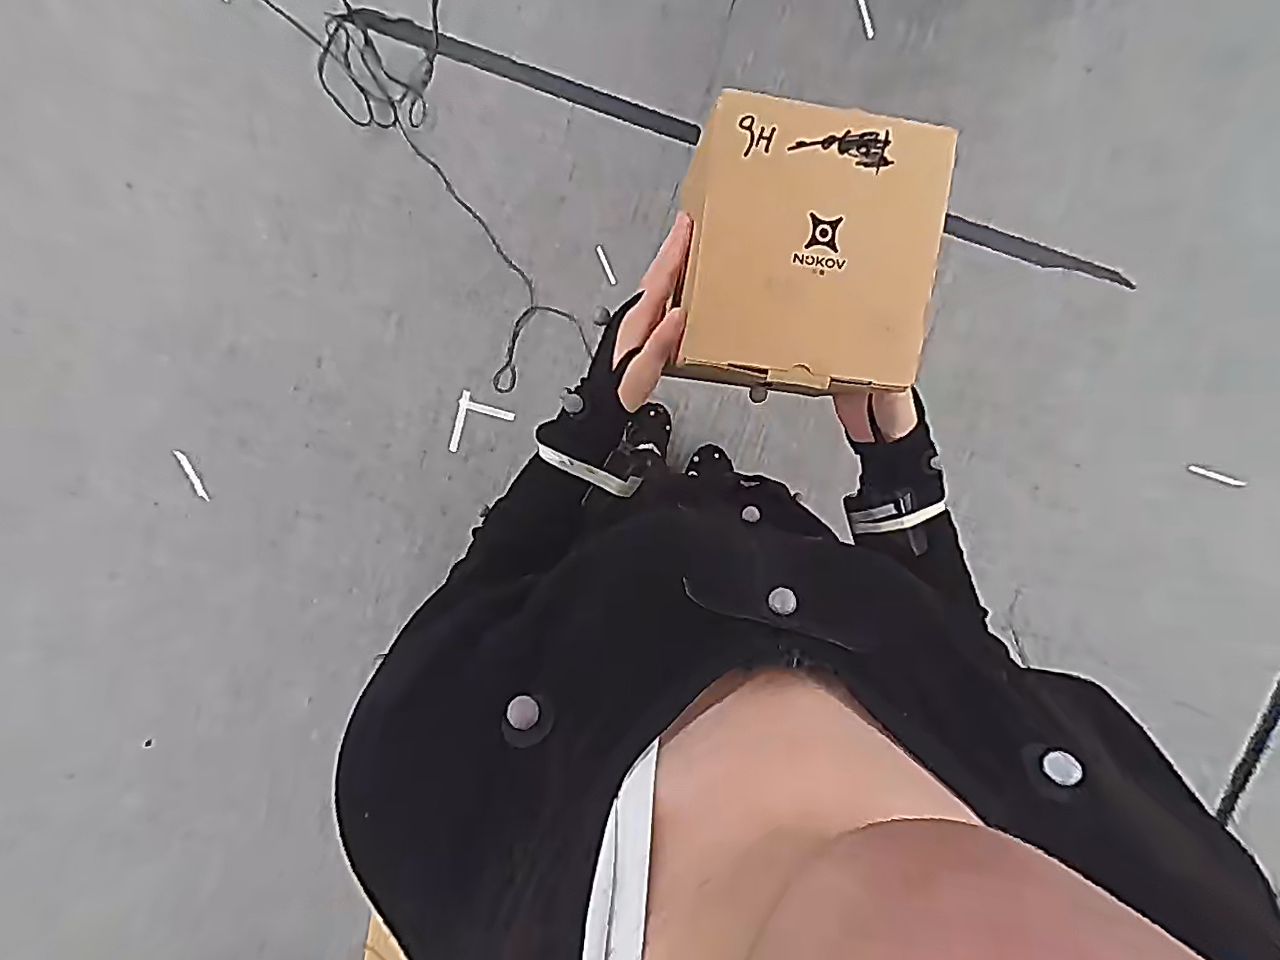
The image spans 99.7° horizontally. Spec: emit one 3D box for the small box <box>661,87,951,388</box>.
[{"bbox_3d":[0.113,-0.173,0.448,0.168,0.176,0.179,6,98,-5],"label":"small box"}]
